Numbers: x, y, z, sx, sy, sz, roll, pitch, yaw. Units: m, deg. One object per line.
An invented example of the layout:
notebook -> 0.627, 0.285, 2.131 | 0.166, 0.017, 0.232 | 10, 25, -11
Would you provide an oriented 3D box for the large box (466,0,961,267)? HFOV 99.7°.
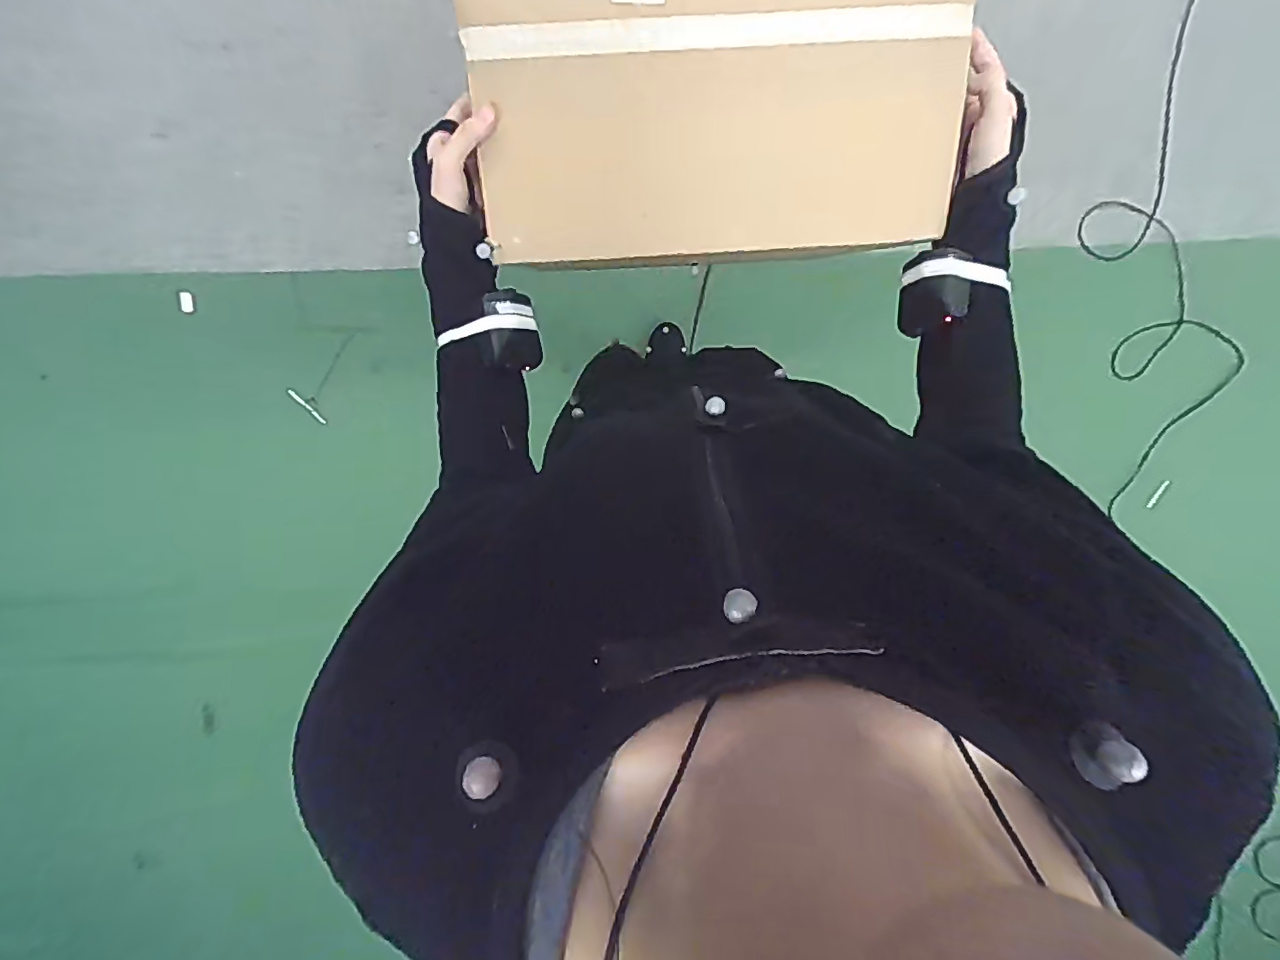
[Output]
large box -> 0.060, -0.411, 0.579 | 0.408, 0.320, 0.320 | -4, 109, 0
